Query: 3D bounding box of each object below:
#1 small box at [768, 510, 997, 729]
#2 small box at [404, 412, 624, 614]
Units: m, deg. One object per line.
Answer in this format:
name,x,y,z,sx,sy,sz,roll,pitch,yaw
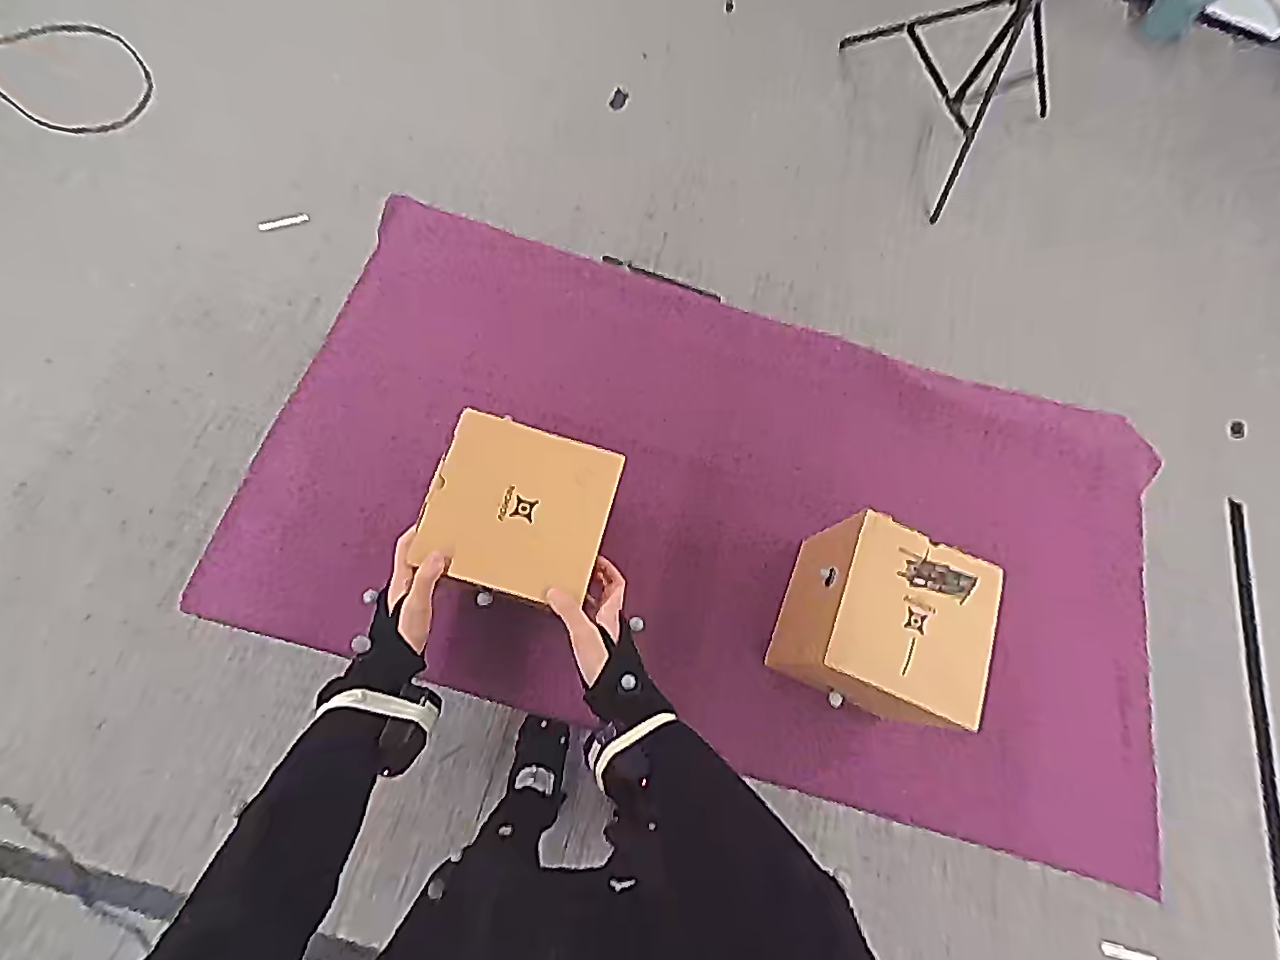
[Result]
small box,0.271,0.163,0.633,0.168,0.176,0.179,24,70,1
small box,-0.129,0.048,0.612,0.179,0.176,0.168,17,73,-2
